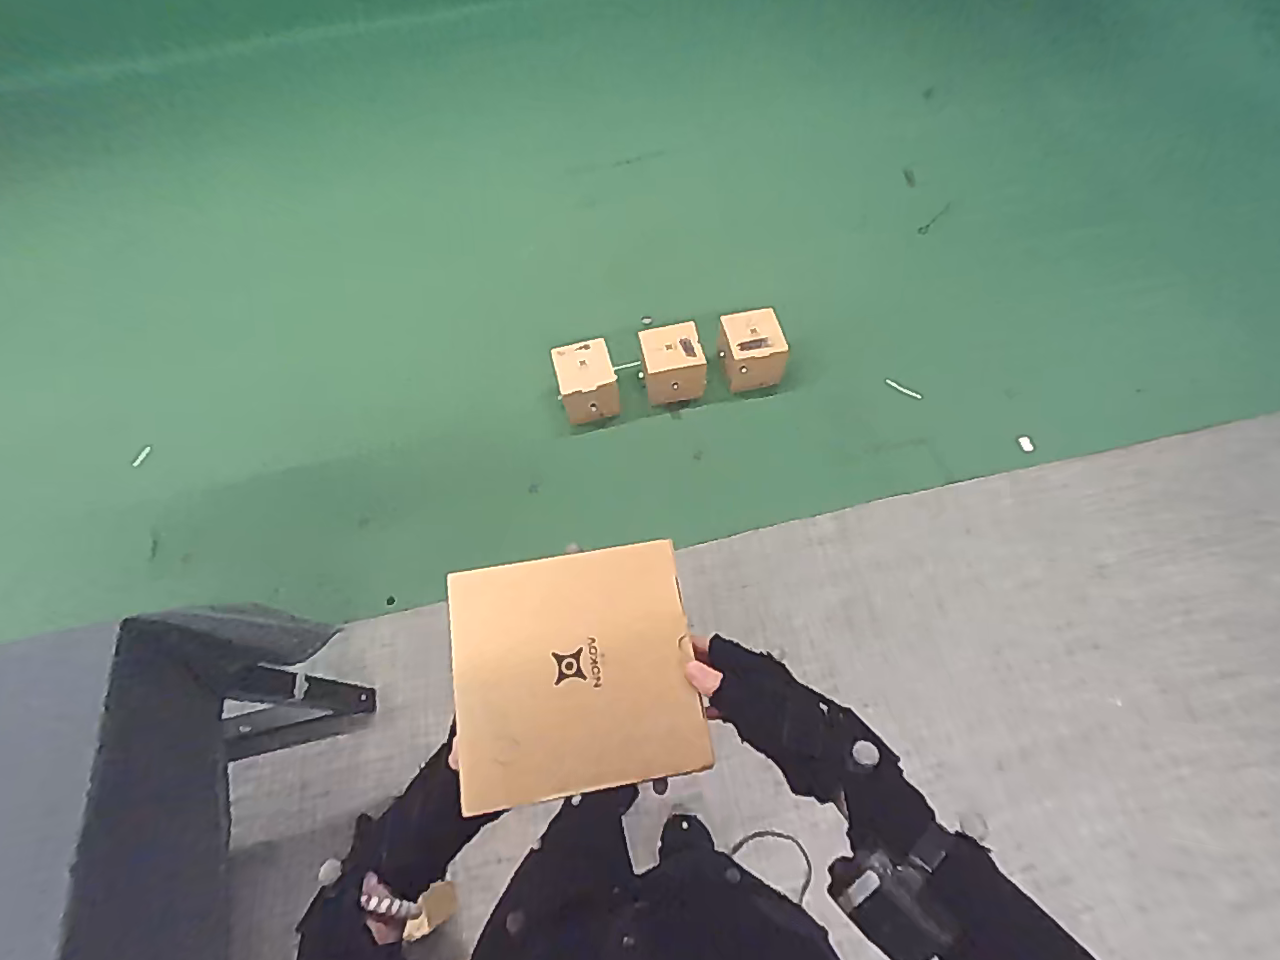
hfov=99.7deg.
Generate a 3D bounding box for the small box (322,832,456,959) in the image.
[{"bbox_3d":[-0.501,0.847,1.093,0.179,0.176,0.168,-24,65,-8],"label":"small box"}]

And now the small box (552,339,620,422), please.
[{"bbox_3d":[-0.160,-0.294,1.647,0.168,0.176,0.179,-14,65,-4],"label":"small box"}]

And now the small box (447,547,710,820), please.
[{"bbox_3d":[-0.052,0.166,0.464,0.179,0.176,0.168,-8,71,-6],"label":"small box"}]
